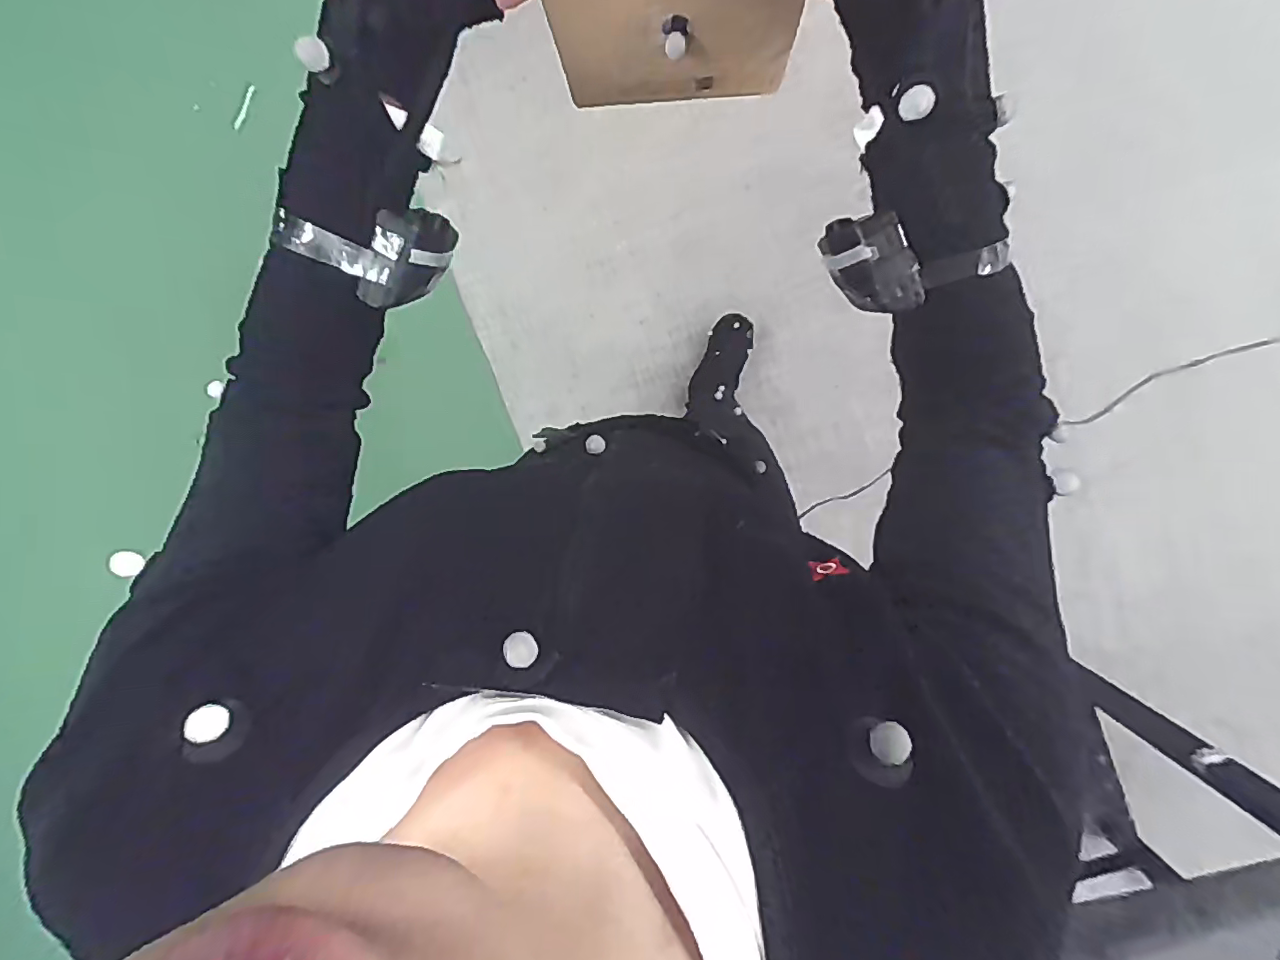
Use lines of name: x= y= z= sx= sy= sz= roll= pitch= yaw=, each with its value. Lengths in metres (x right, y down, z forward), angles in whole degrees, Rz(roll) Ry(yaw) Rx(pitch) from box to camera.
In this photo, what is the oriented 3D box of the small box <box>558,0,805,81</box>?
small box: x=0.027 y=-0.389 z=0.343 sx=0.168 sy=0.176 sz=0.179 roll=-1 pitch=95 yaw=4
